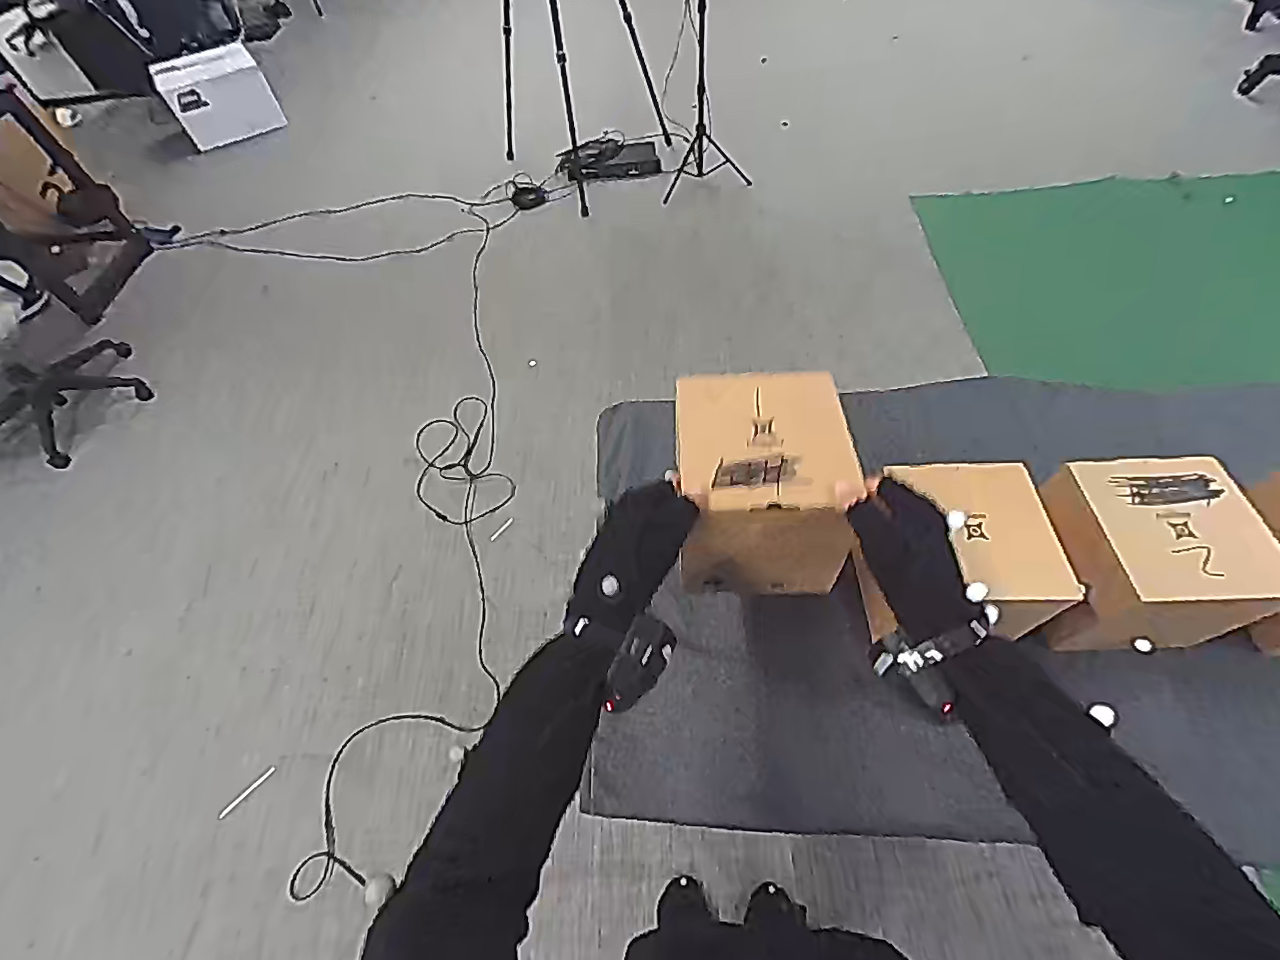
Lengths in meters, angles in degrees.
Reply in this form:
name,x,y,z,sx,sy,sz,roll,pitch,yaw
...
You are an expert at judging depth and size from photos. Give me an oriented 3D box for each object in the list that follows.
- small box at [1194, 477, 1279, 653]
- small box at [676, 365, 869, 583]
name,x,y,z,sx,sy,sz,roll,pitch,yaw
small box,0.826,0.092,0.628,0.168,0.176,0.179,-2,55,5
small box,0.124,0.000,0.579,0.168,0.176,0.179,-2,51,4
